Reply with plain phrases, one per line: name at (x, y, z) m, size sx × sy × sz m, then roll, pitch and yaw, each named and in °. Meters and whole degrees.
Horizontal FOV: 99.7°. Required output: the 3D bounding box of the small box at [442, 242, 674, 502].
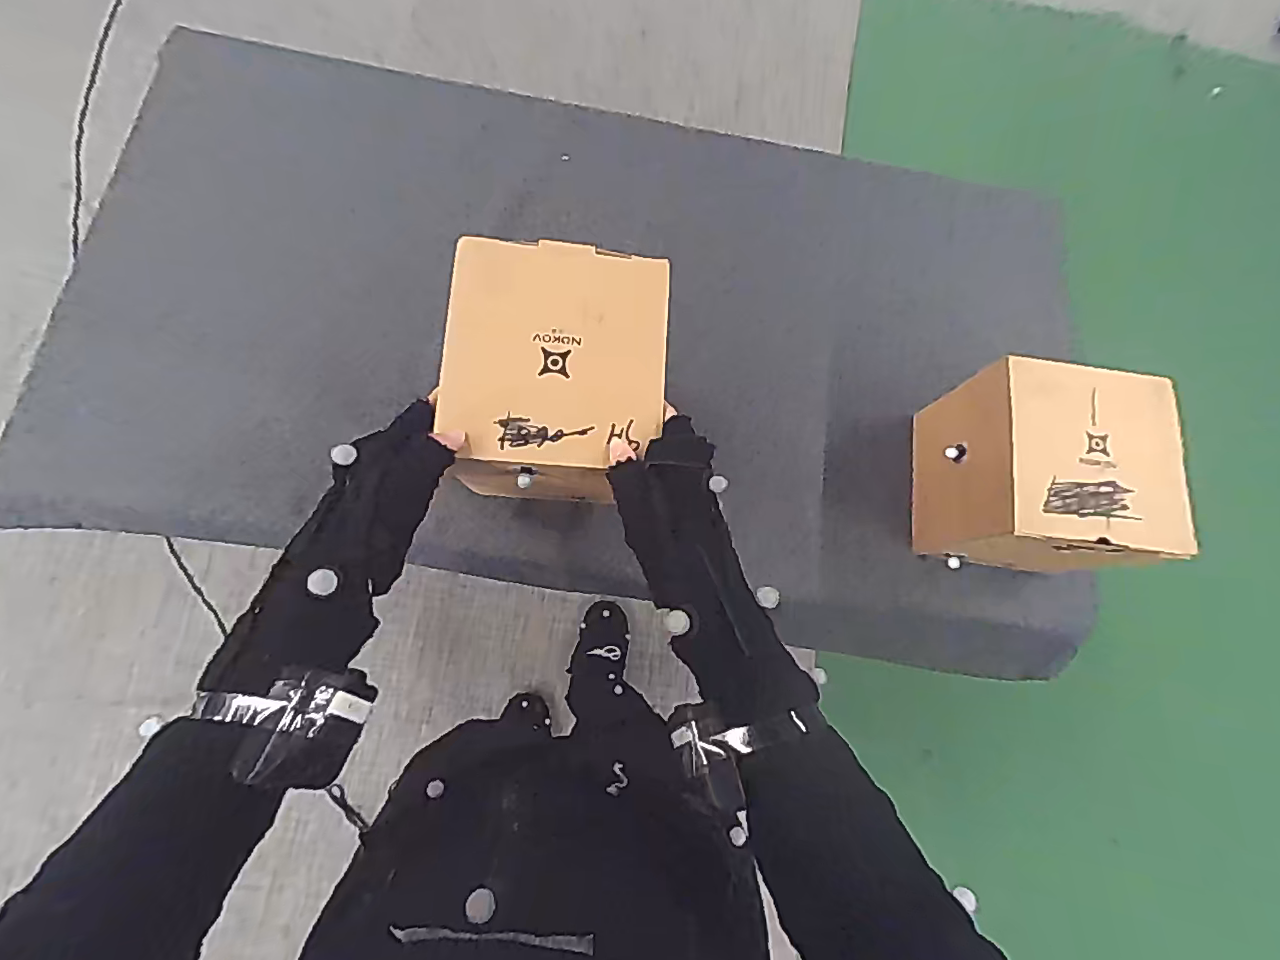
small box at (-0.067, -0.082, 0.495) m, size 0.168 × 0.176 × 0.179 m, roll 4°, pitch 80°, yaw -5°

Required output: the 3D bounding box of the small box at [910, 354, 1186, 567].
small box at (0.411, -0.007, 0.577) m, size 0.168 × 0.176 × 0.179 m, roll 8°, pitch 75°, yaw -1°
